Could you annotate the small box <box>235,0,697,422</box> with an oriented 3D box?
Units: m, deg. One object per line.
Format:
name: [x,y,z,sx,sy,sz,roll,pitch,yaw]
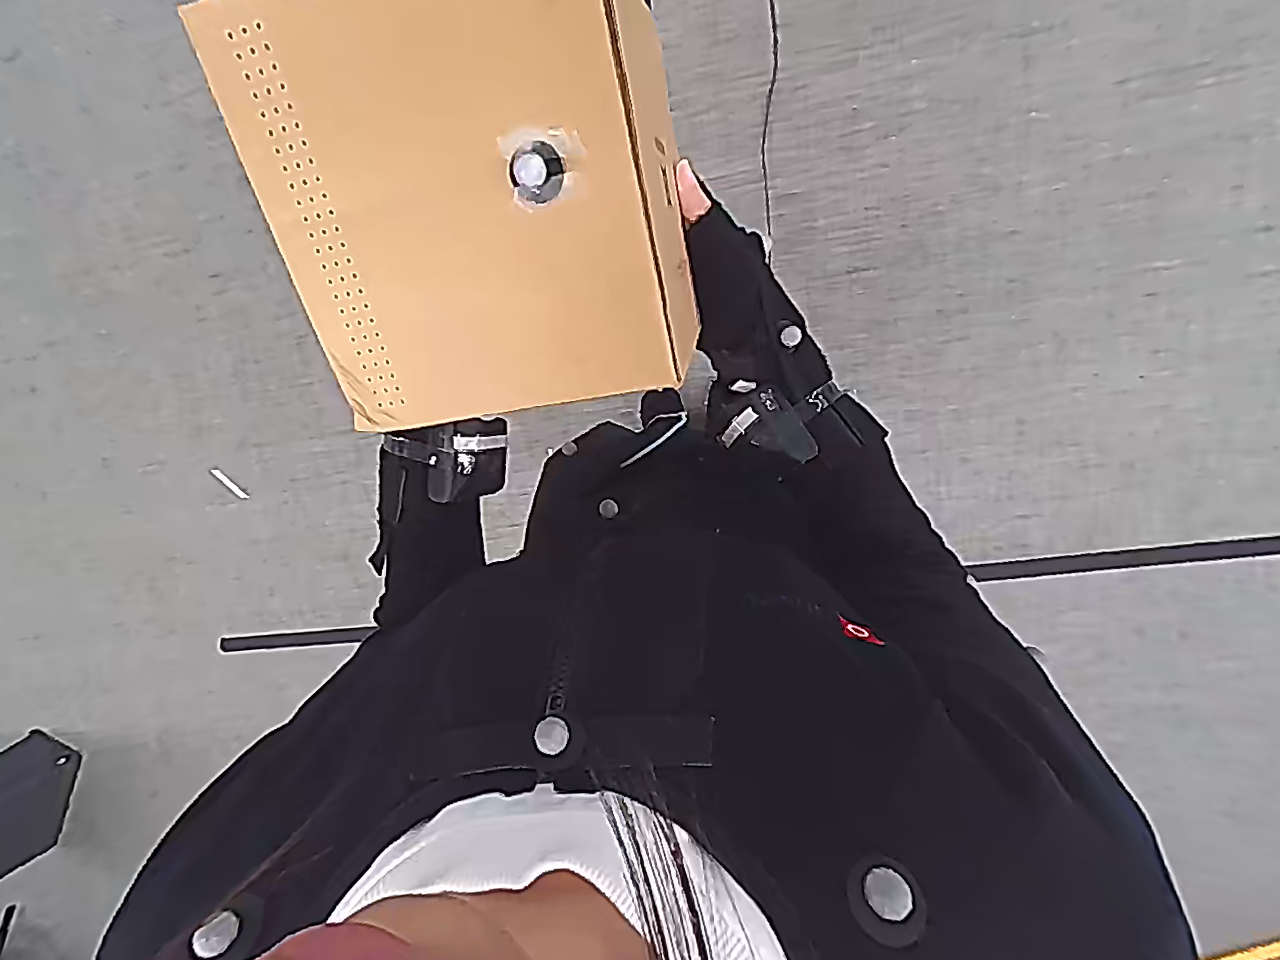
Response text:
small box: [-0.068,-0.147,0.304,0.176,0.168,0.179,-7,113,13]
